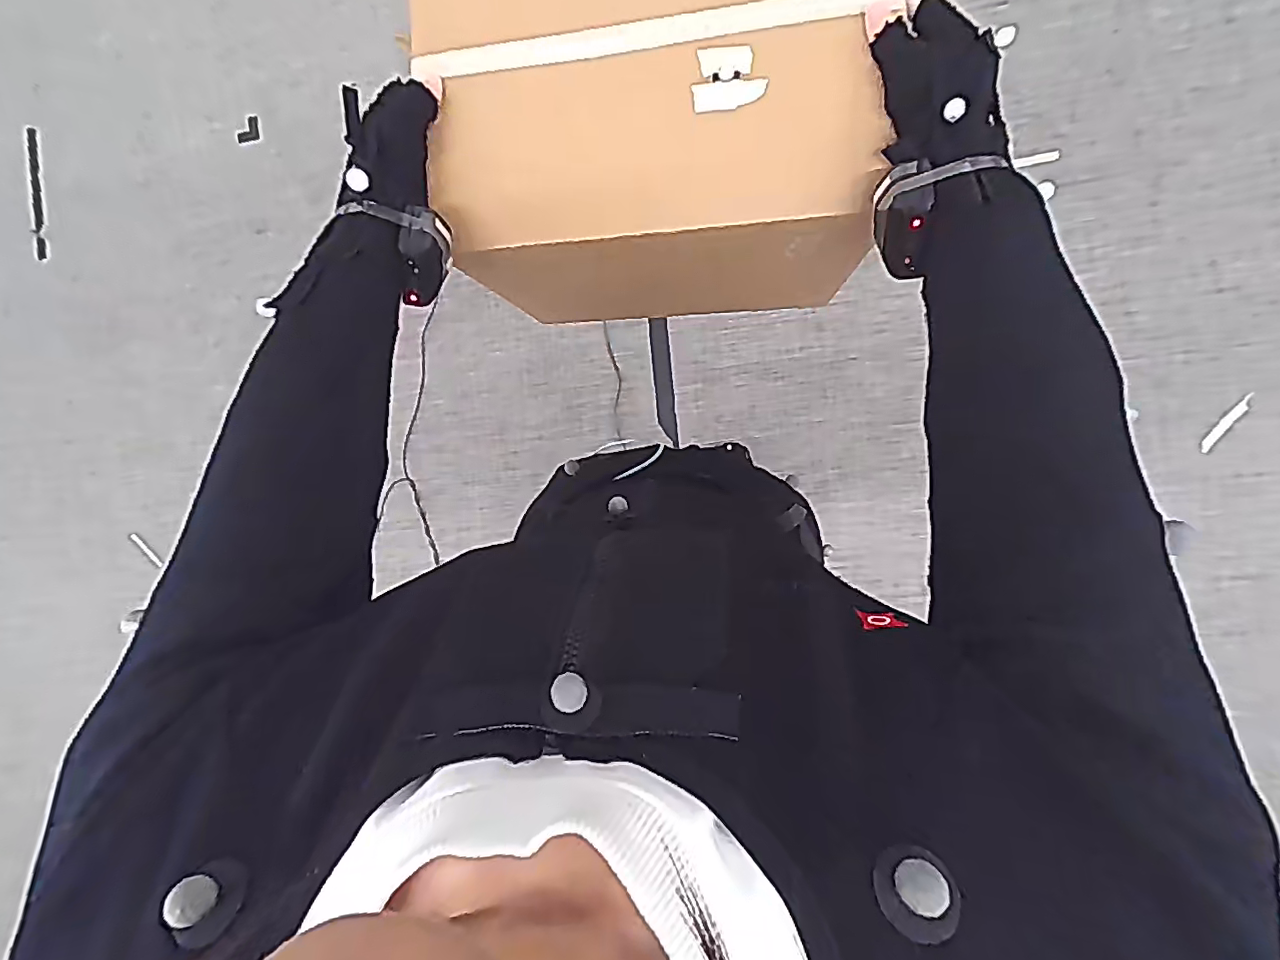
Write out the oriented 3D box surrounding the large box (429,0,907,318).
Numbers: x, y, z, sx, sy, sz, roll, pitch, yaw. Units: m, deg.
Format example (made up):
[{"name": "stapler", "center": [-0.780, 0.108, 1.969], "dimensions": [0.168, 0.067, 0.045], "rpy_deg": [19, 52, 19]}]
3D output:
[{"name": "large box", "center": [0.029, -0.384, 0.601], "dimensions": [0.408, 0.320, 0.320], "rpy_deg": [-2, 95, 7]}]
